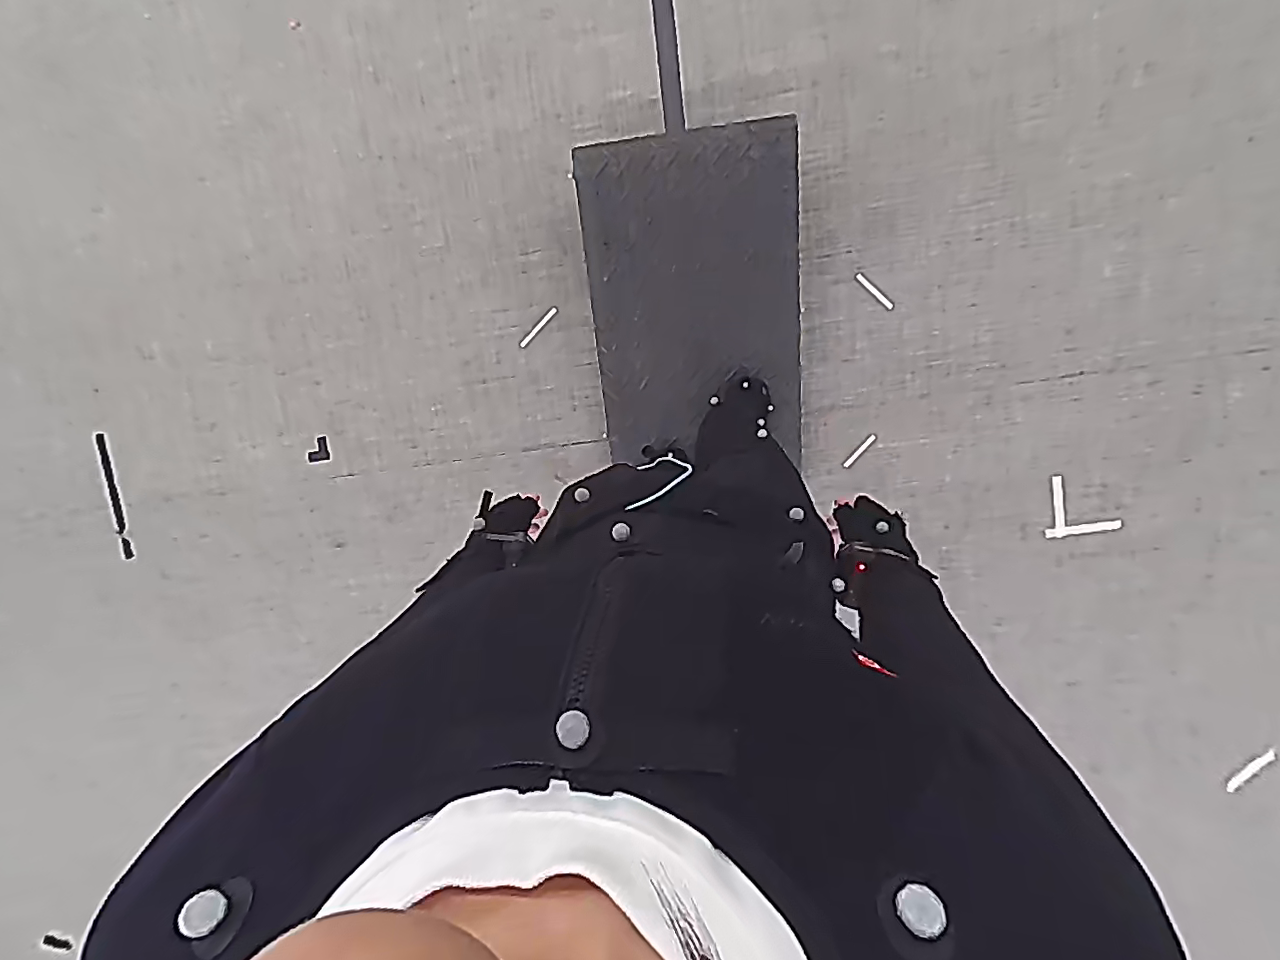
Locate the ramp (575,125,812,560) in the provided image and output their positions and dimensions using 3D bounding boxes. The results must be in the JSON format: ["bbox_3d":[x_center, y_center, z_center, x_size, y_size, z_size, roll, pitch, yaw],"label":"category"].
[{"bbox_3d":[0.161,-0.268,1.339,0.509,0.206,0.991,-7,98,8],"label":"ramp"}]
